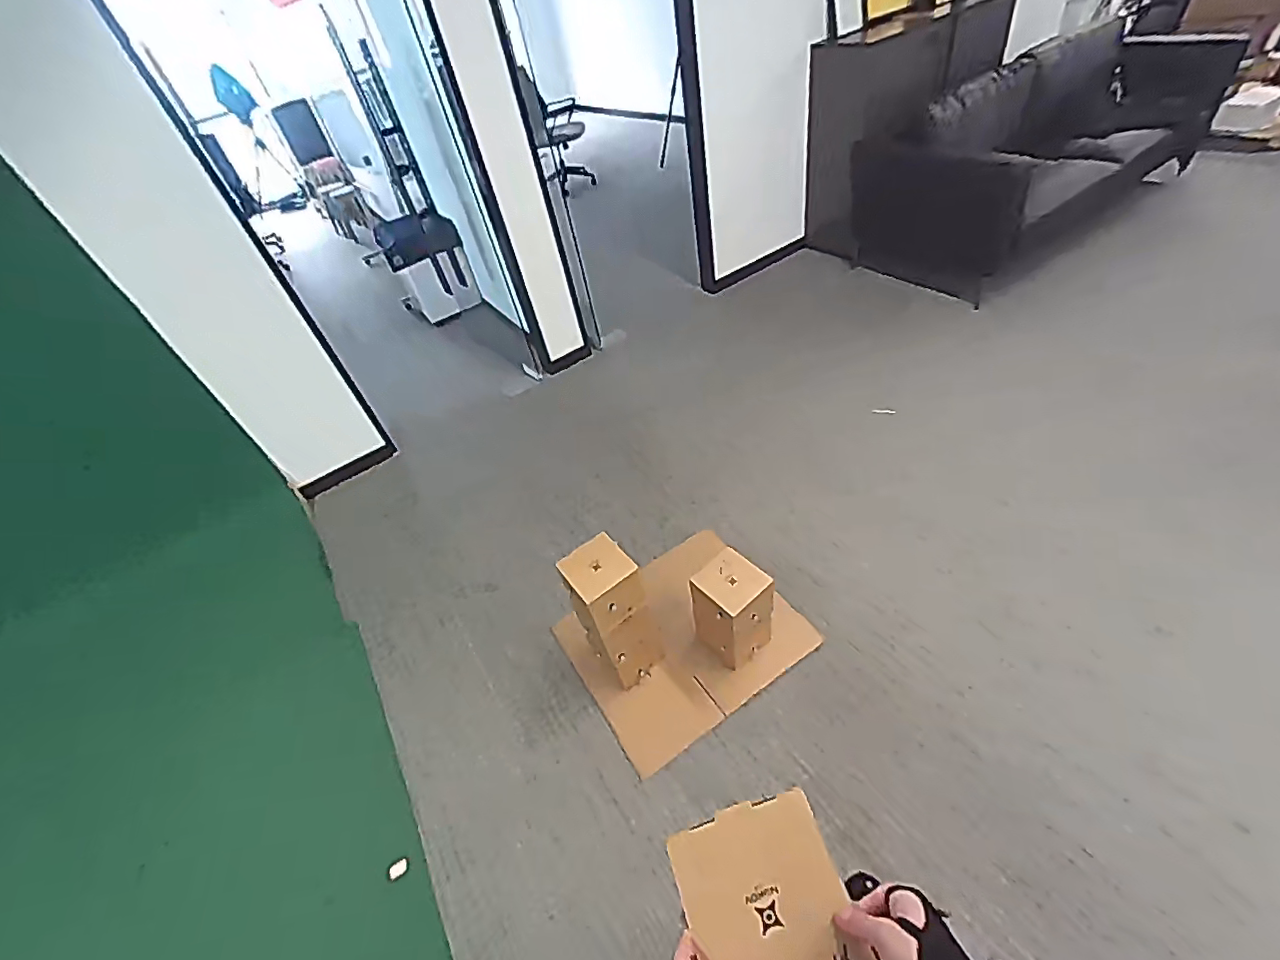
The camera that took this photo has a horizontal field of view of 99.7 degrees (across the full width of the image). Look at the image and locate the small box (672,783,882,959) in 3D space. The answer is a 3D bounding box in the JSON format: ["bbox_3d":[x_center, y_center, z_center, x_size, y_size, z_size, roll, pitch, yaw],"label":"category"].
[{"bbox_3d":[0.146,0.475,0.611,0.168,0.176,0.179,-19,52,-2],"label":"small box"}]

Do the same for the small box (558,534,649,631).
[{"bbox_3d":[-0.095,0.288,1.482,0.168,0.176,0.179,-33,46,-19],"label":"small box"}]

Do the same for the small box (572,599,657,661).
[{"bbox_3d":[-0.068,0.406,1.591,0.168,0.176,0.179,-34,46,-19],"label":"small box"}]

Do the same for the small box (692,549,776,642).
[{"bbox_3d":[0.275,0.339,1.561,0.168,0.176,0.179,-34,47,-21],"label":"small box"}]

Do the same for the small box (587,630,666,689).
[{"bbox_3d":[-0.039,0.521,1.703,0.168,0.176,0.179,-36,48,-21],"label":"small box"}]
